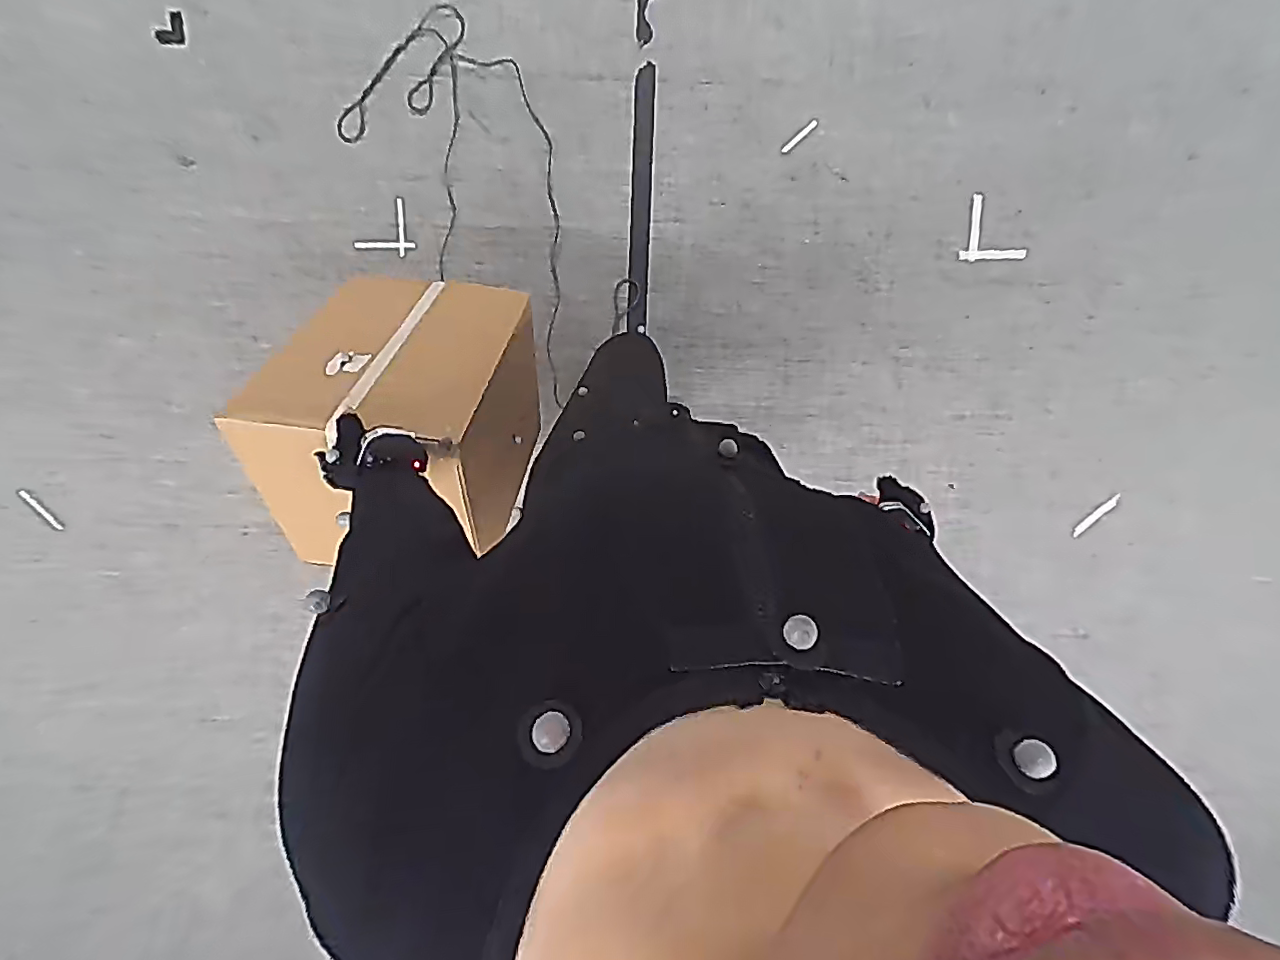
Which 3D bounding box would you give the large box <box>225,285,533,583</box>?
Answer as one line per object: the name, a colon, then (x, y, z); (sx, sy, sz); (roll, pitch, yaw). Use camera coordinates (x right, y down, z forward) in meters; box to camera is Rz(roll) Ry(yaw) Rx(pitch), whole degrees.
large box: (-0.381, -0.087, 0.934); (0.320, 0.408, 0.320); (6, 136, 1)
